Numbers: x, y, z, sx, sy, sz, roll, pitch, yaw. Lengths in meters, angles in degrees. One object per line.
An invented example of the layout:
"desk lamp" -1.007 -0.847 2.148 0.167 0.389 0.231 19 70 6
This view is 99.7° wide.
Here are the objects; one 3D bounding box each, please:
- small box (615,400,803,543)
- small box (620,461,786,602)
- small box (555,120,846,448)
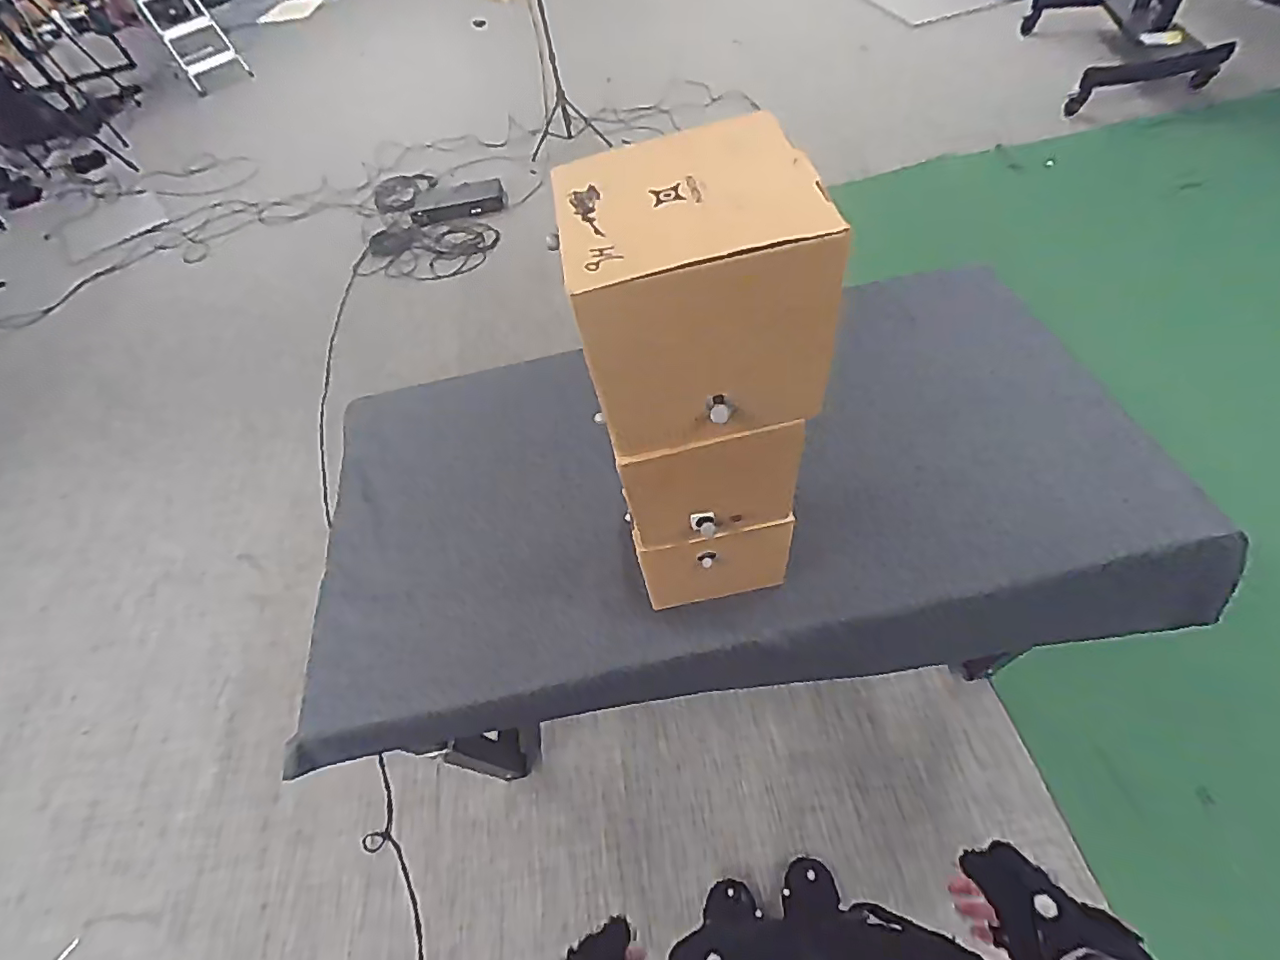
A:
"small box" 0.057 -0.059 0.574 0.168 0.176 0.179 -14 56 1
"small box" 0.080 0.046 0.715 0.179 0.176 0.168 -12 56 1
"small box" 0.040 -0.149 0.438 0.179 0.176 0.168 -12 55 2
